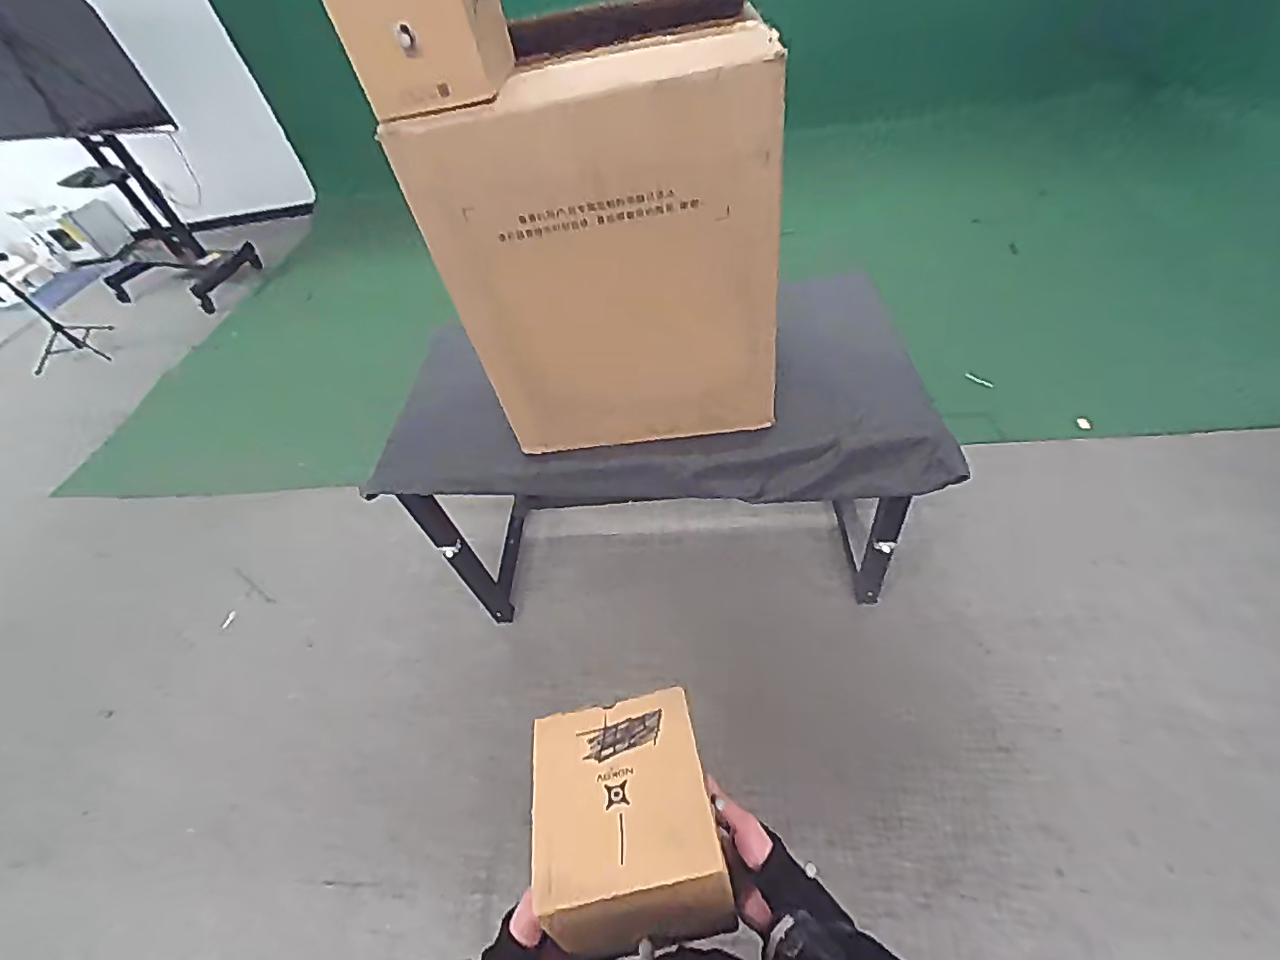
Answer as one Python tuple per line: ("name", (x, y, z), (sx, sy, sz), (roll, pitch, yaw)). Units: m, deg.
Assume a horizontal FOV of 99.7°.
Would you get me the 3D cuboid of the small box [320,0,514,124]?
("small box", (-0.280, -0.593, 0.711), (0.168, 0.176, 0.179), (-5, 49, 8))
